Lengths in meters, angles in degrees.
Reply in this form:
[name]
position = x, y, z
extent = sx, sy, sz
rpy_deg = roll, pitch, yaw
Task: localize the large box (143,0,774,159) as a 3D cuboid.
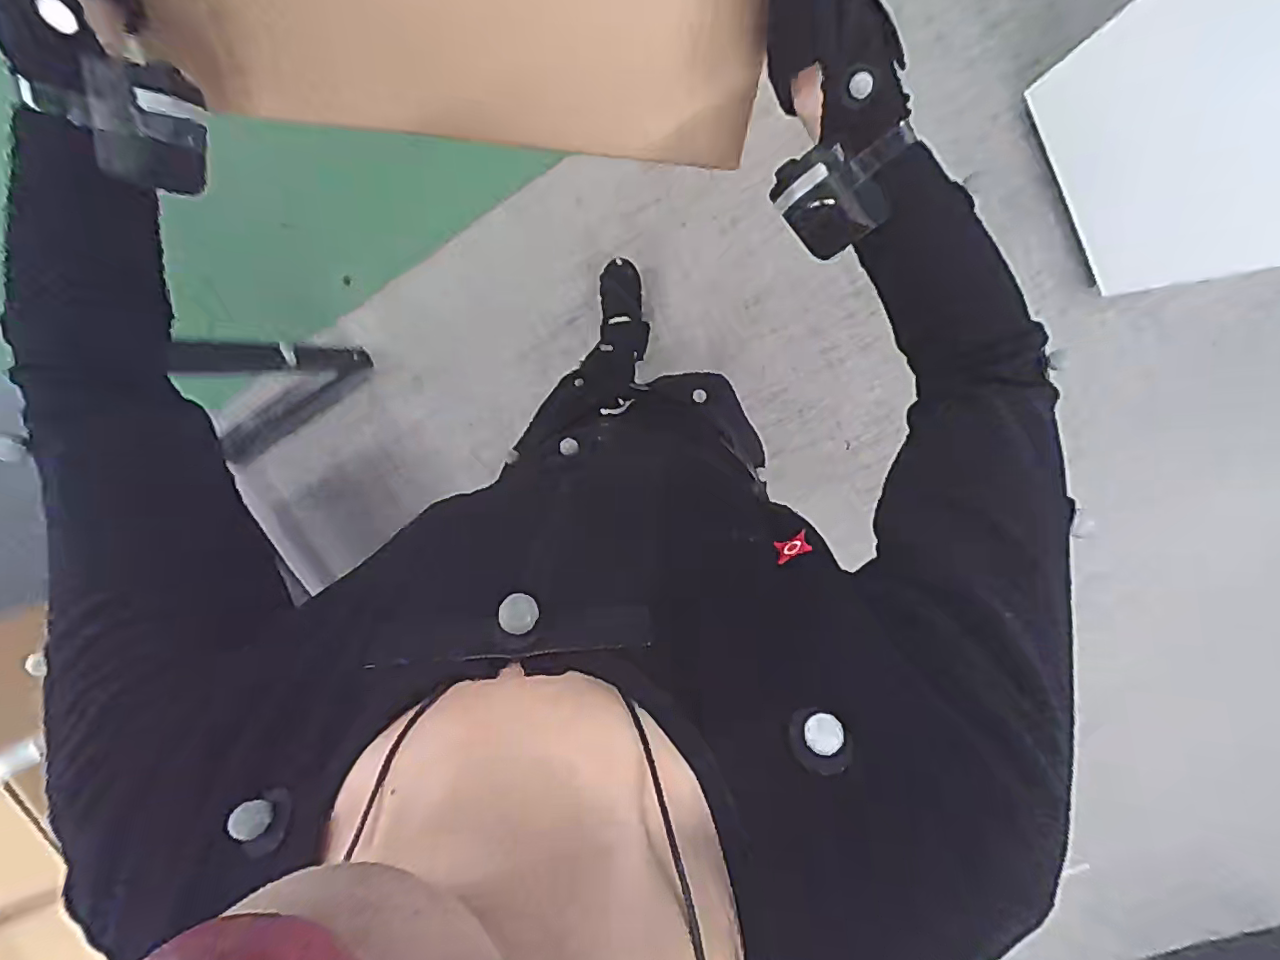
[large box]
position = -0.112, -0.470, 0.399
extent = 0.408, 0.320, 0.320
rpy_deg = 1, 133, -10
